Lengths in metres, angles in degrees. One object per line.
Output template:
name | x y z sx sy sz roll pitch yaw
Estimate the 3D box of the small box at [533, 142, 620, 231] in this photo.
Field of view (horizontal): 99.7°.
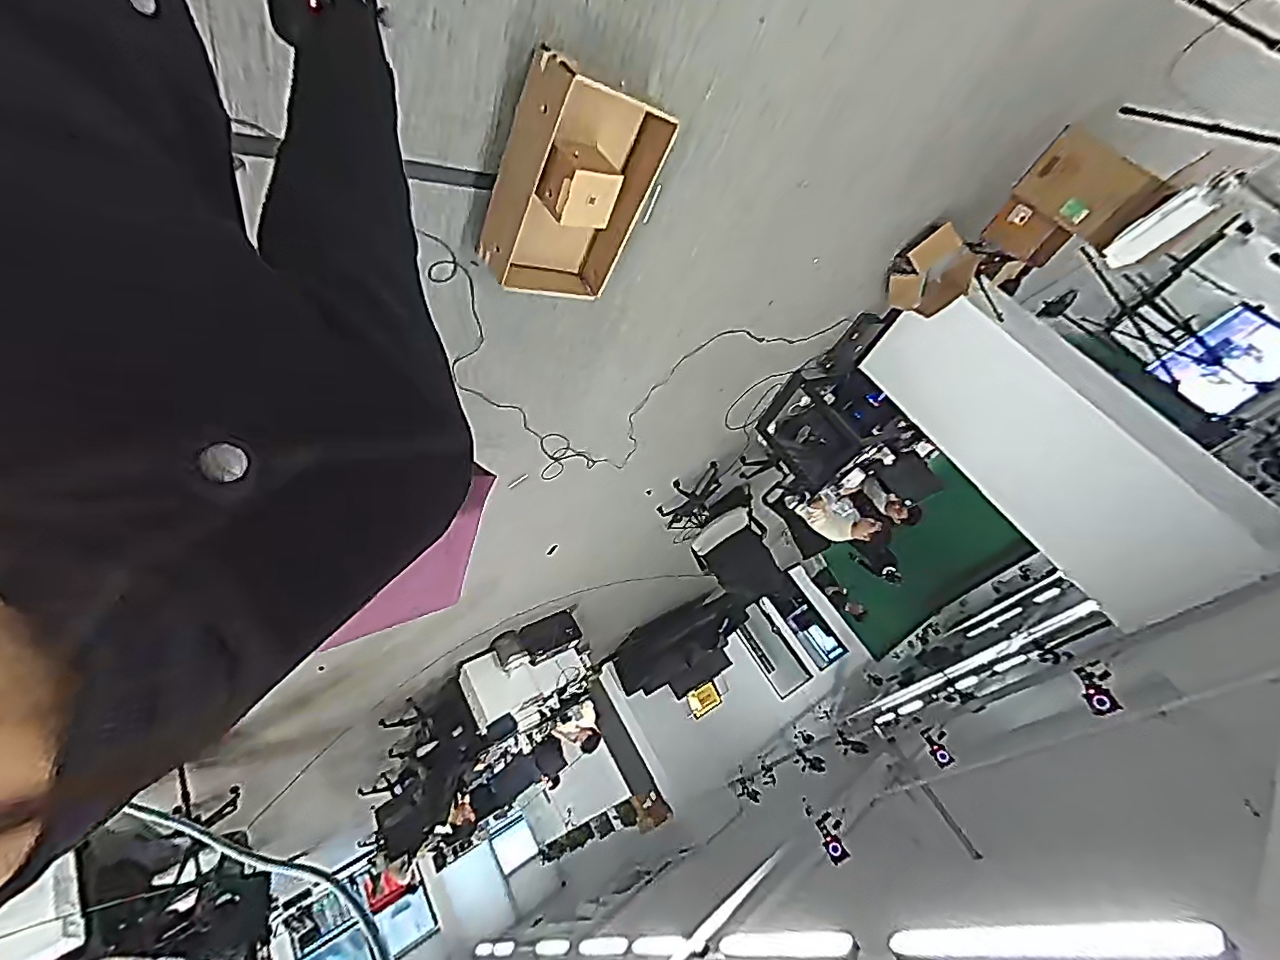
small box | -0.194 -0.874 1.611 0.179 0.176 0.168 -15 152 -38
